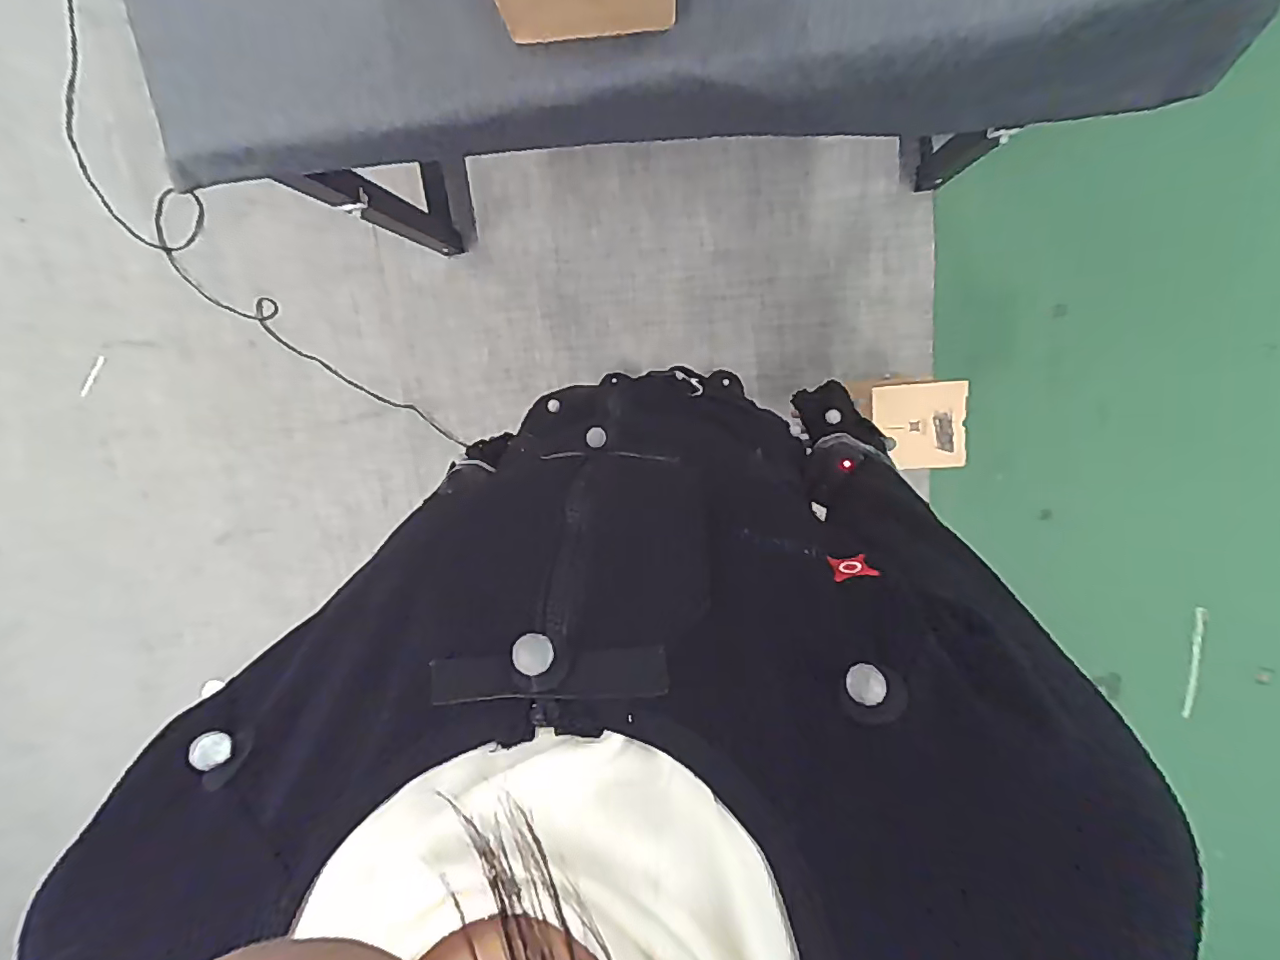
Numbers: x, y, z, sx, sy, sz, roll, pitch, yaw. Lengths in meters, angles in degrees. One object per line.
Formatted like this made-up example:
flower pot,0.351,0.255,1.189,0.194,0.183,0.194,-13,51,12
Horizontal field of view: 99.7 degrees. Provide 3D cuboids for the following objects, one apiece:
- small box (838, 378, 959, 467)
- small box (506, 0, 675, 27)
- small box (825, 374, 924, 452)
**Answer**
small box,0.525,-0.124,1.118,0.179,0.176,0.168,-2,101,6
small box,-0.058,-0.551,0.486,0.179,0.176,0.168,-1,102,5
small box,0.548,-0.161,1.278,0.179,0.176,0.168,-5,101,7
